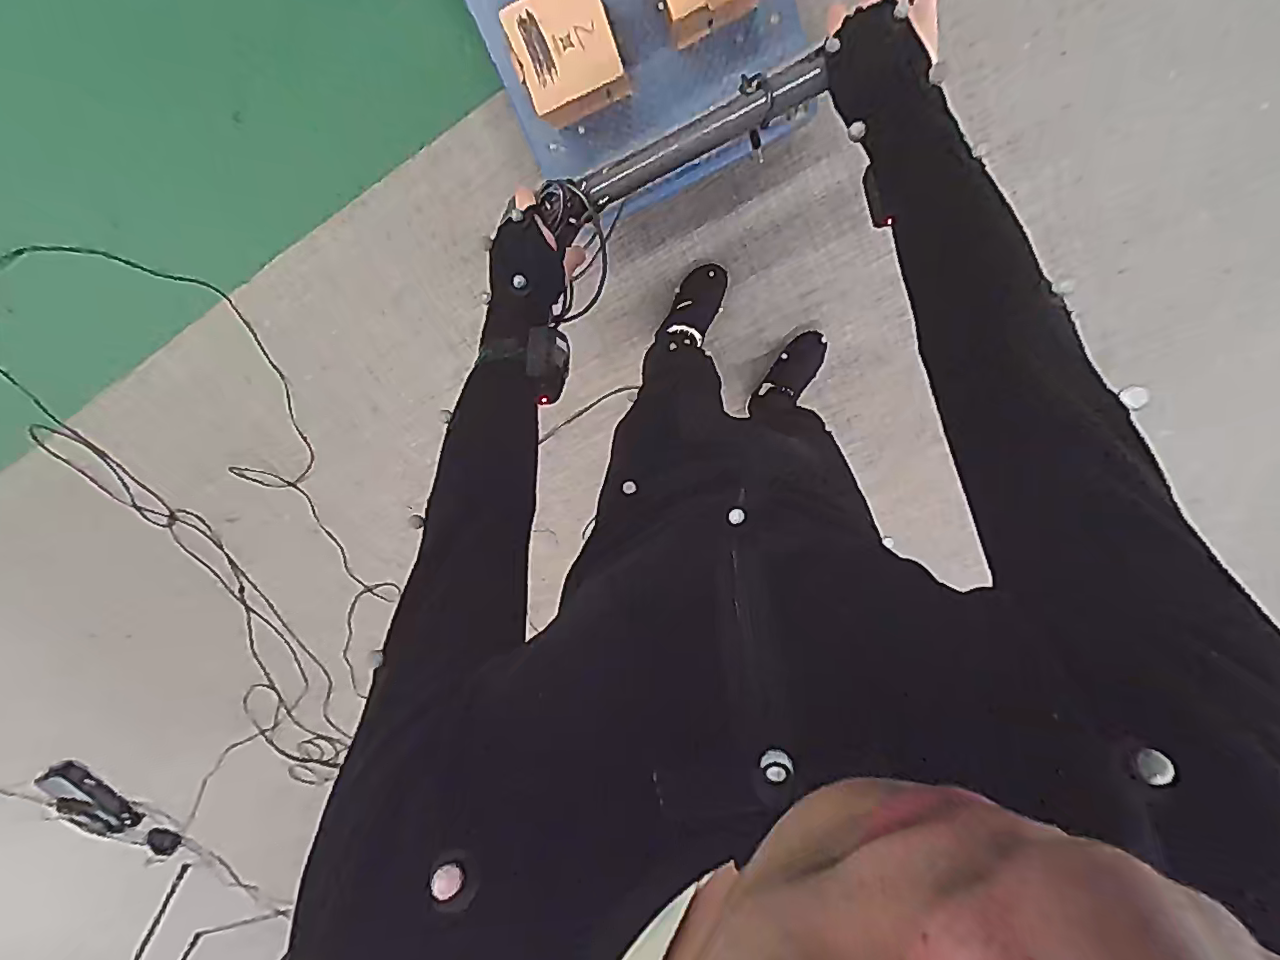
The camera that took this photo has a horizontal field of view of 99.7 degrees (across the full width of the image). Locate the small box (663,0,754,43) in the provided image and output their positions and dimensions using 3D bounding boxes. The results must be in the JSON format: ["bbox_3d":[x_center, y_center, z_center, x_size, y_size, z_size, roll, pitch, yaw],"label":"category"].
[{"bbox_3d":[0.107,-0.913,0.935,0.168,0.176,0.179,-20,114,14],"label":"small box"}]
